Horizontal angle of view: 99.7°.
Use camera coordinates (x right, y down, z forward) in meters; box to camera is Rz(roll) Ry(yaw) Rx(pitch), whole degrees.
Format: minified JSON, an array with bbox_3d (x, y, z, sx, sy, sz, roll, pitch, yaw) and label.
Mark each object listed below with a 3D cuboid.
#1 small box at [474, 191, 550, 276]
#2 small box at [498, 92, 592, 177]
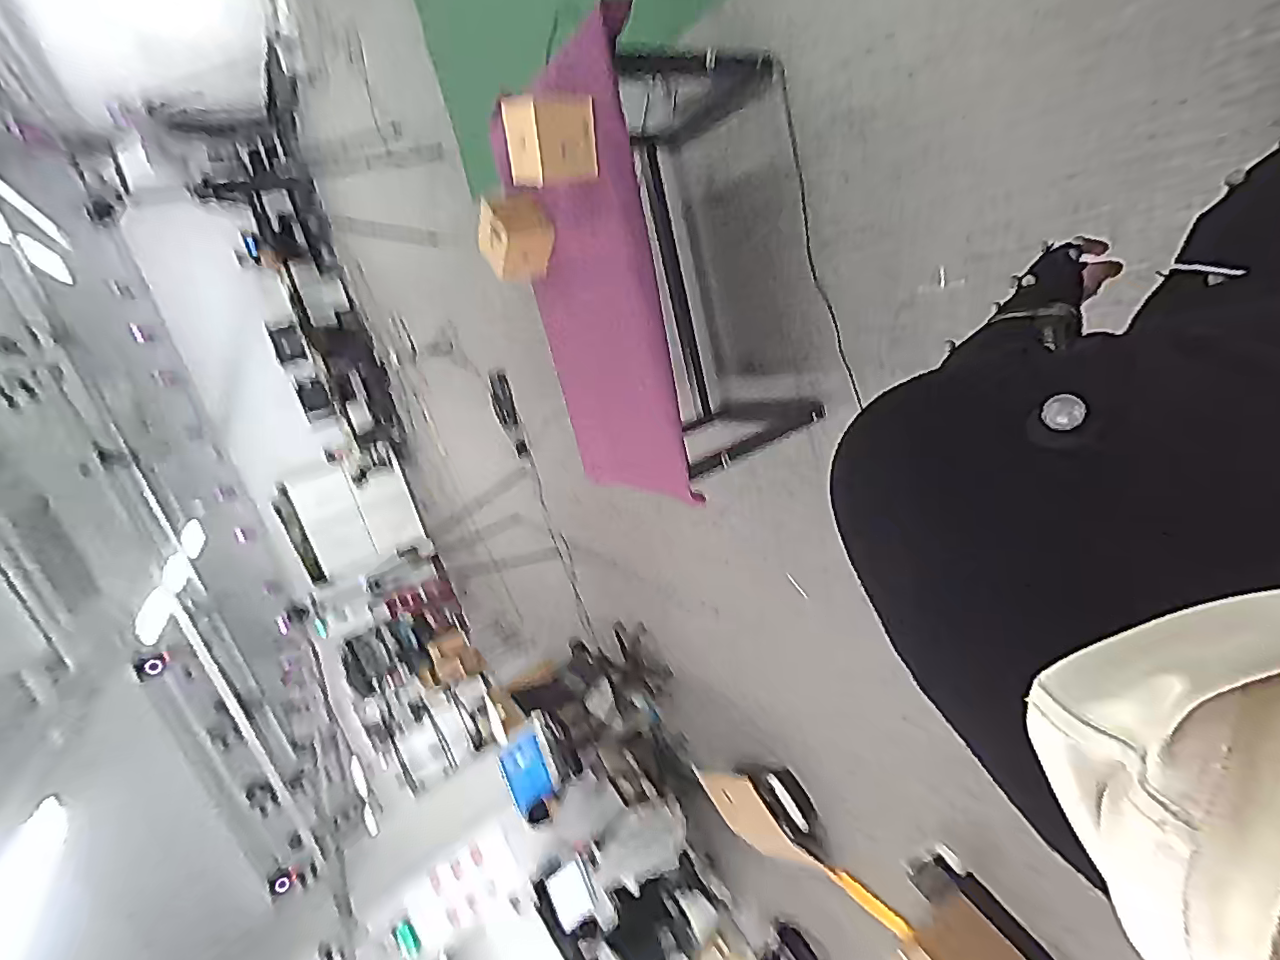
[{"bbox_3d":[-0.400,-0.779,1.700,0.168,0.176,0.179,57,149,13],"label":"small box"},{"bbox_3d":[-0.231,-0.874,1.368,0.179,0.176,0.168,35,140,43],"label":"small box"}]
